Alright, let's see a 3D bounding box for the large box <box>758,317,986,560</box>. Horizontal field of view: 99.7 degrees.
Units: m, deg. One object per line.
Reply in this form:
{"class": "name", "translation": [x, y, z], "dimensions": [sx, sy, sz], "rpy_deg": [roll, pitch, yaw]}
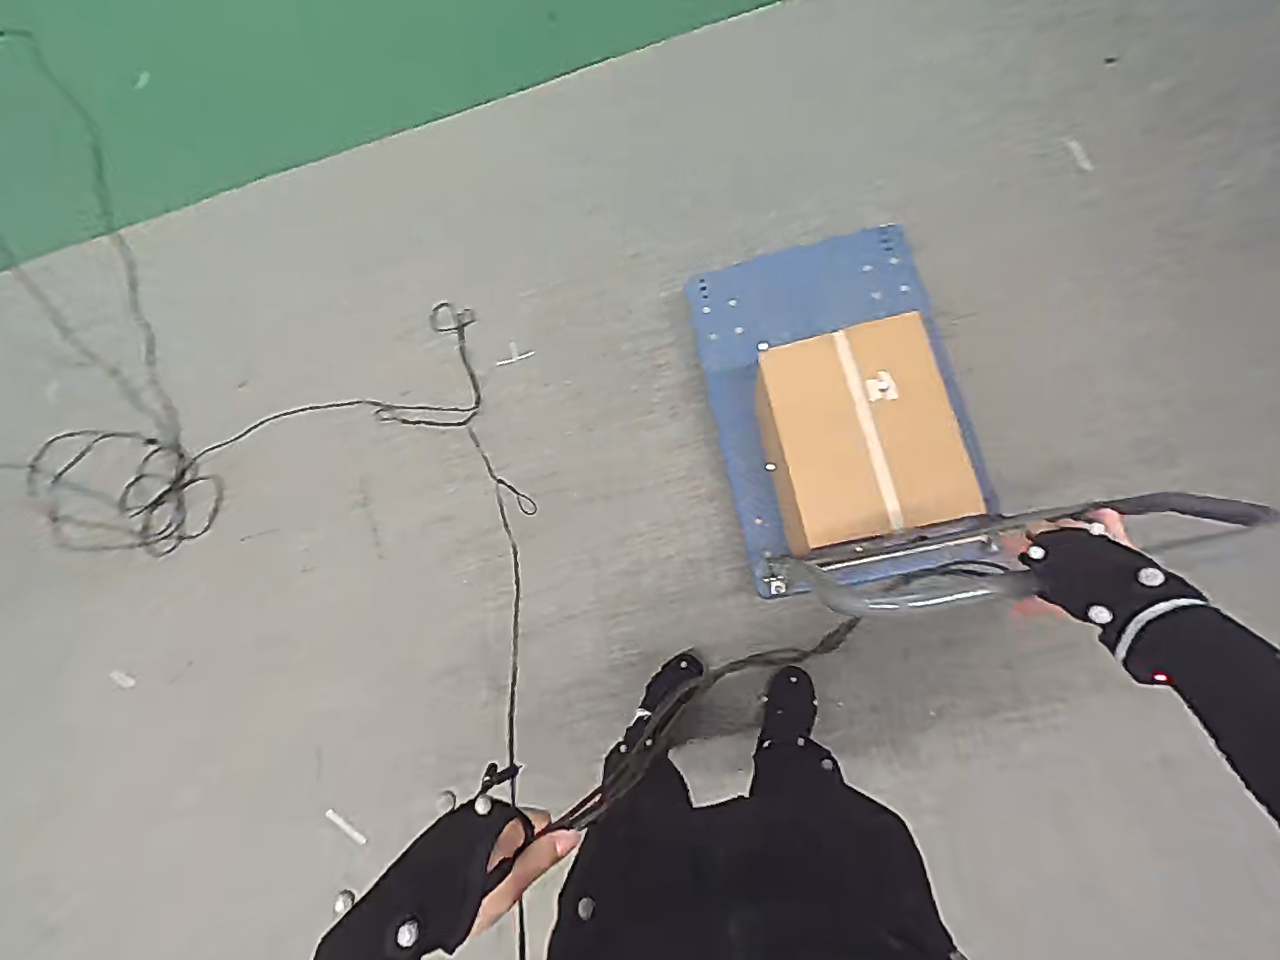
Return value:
{"class": "large box", "translation": [0.454, -0.063, 1.161], "dimensions": [0.320, 0.320, 0.408], "rpy_deg": [-13, 75, 7]}
